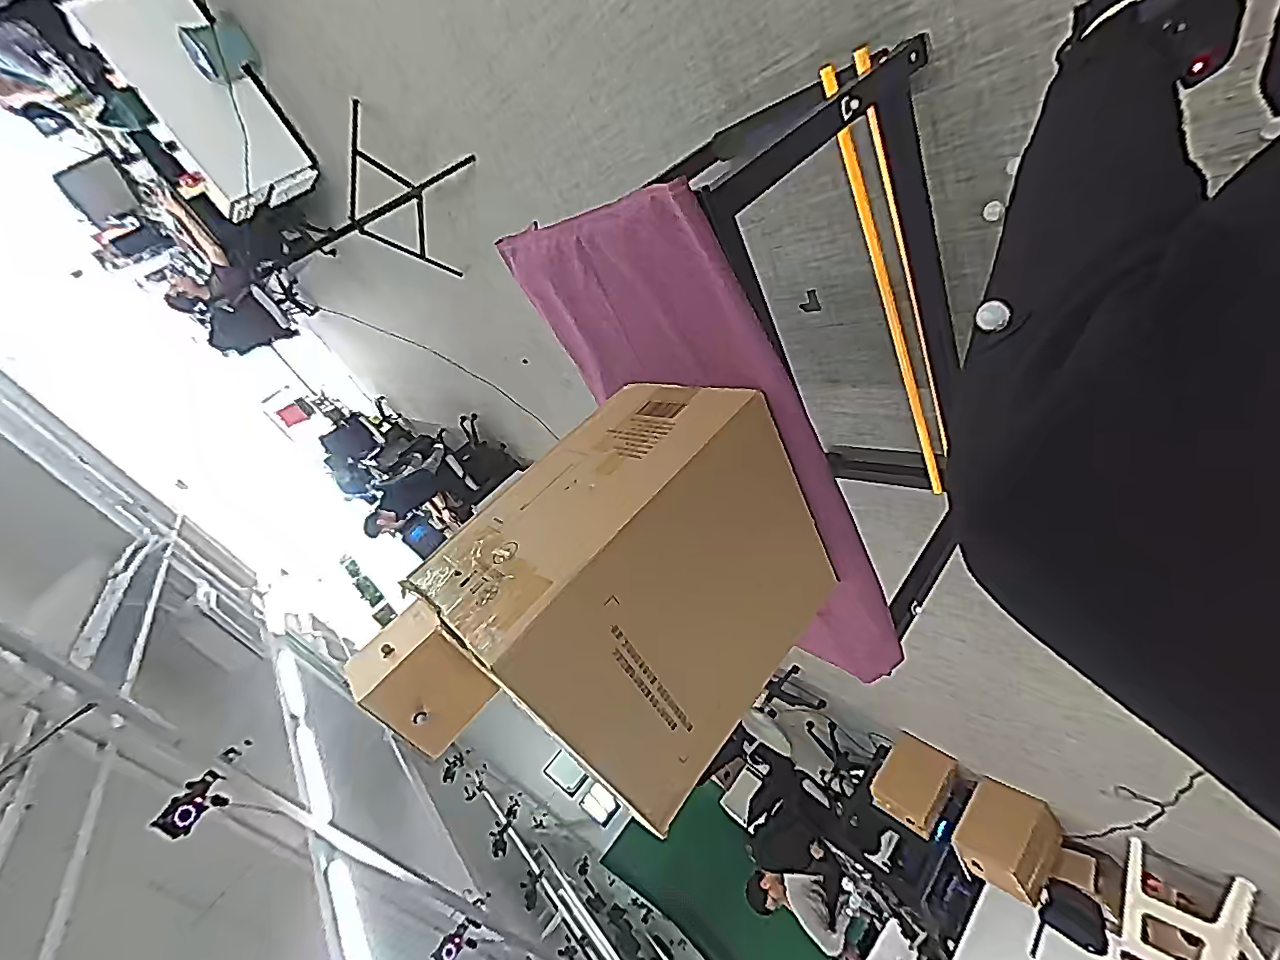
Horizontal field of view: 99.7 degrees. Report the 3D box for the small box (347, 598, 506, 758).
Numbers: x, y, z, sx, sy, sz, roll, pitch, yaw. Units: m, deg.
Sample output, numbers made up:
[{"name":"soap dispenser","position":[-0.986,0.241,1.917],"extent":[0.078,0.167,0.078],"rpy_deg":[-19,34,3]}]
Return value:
[{"name":"small box","position":[-0.374,0.337,0.952],"extent":[0.168,0.176,0.179],"rpy_deg":[9,140,55]}]
